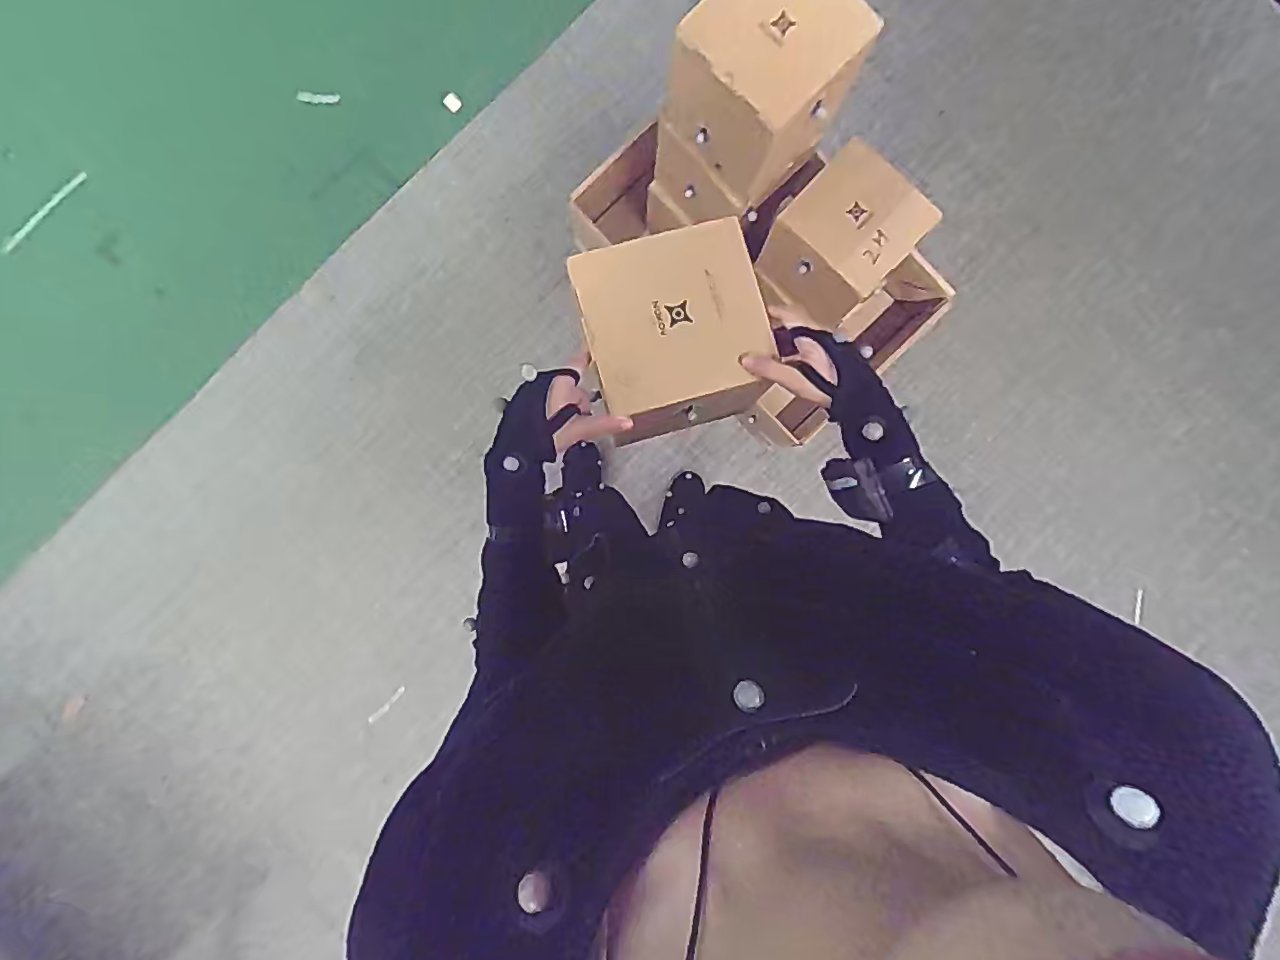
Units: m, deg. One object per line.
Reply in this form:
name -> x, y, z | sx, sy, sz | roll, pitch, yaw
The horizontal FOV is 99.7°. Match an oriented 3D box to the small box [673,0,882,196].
small box -> 0.155, -0.511, 0.682 | 0.168, 0.176, 0.179 | 44, 91, 0
